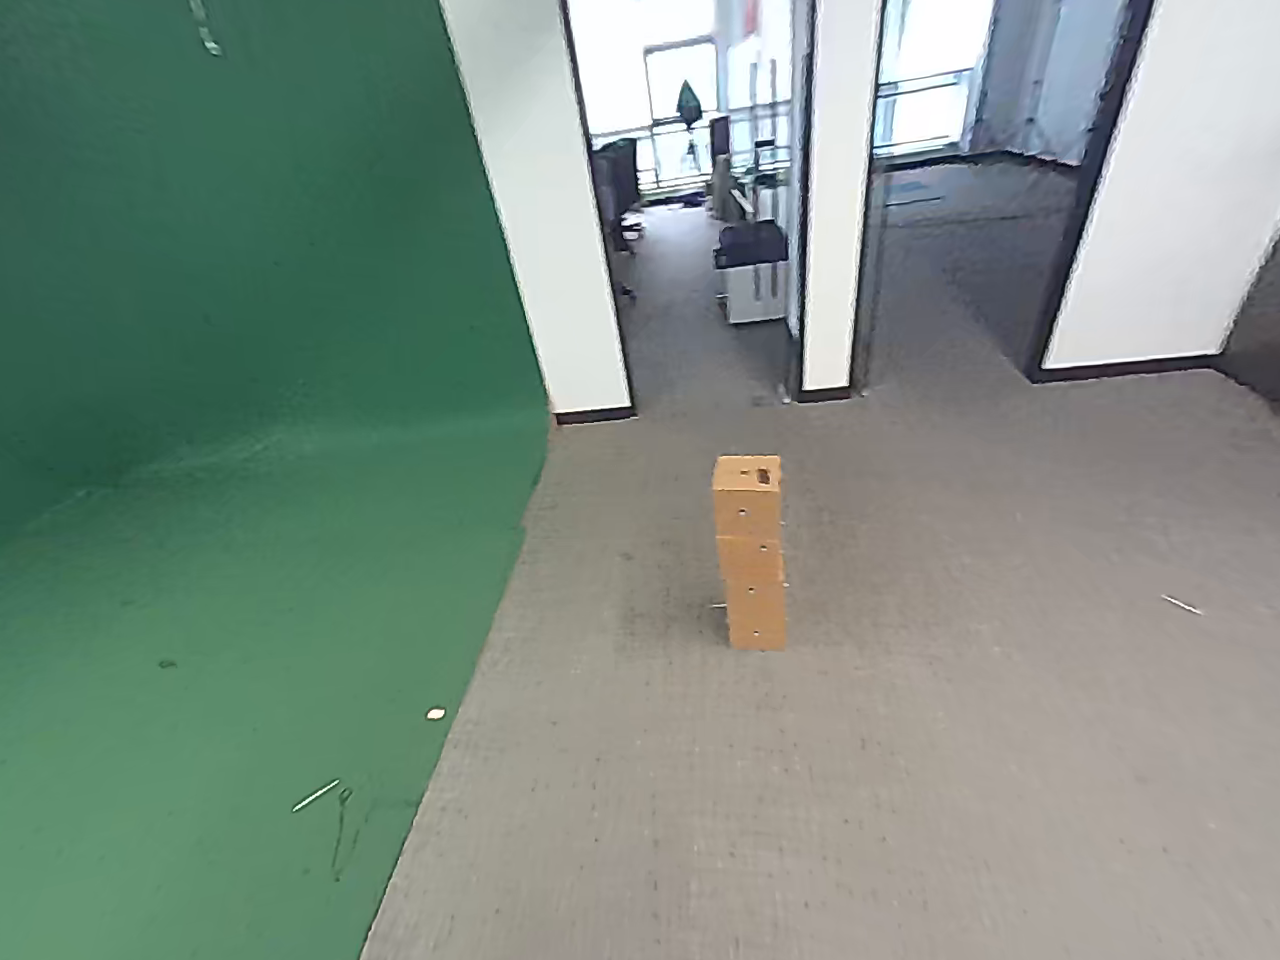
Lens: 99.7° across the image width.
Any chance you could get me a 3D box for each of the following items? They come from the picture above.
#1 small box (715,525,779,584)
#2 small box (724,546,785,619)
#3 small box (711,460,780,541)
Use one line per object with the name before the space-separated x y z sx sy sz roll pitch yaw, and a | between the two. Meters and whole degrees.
small box | 0.325 0.194 1.617 0.179 0.176 0.168 -1 36 14
small box | 0.363 0.325 1.707 0.179 0.176 0.168 -3 36 12
small box | 0.303 0.059 1.525 0.179 0.176 0.168 0 36 17
